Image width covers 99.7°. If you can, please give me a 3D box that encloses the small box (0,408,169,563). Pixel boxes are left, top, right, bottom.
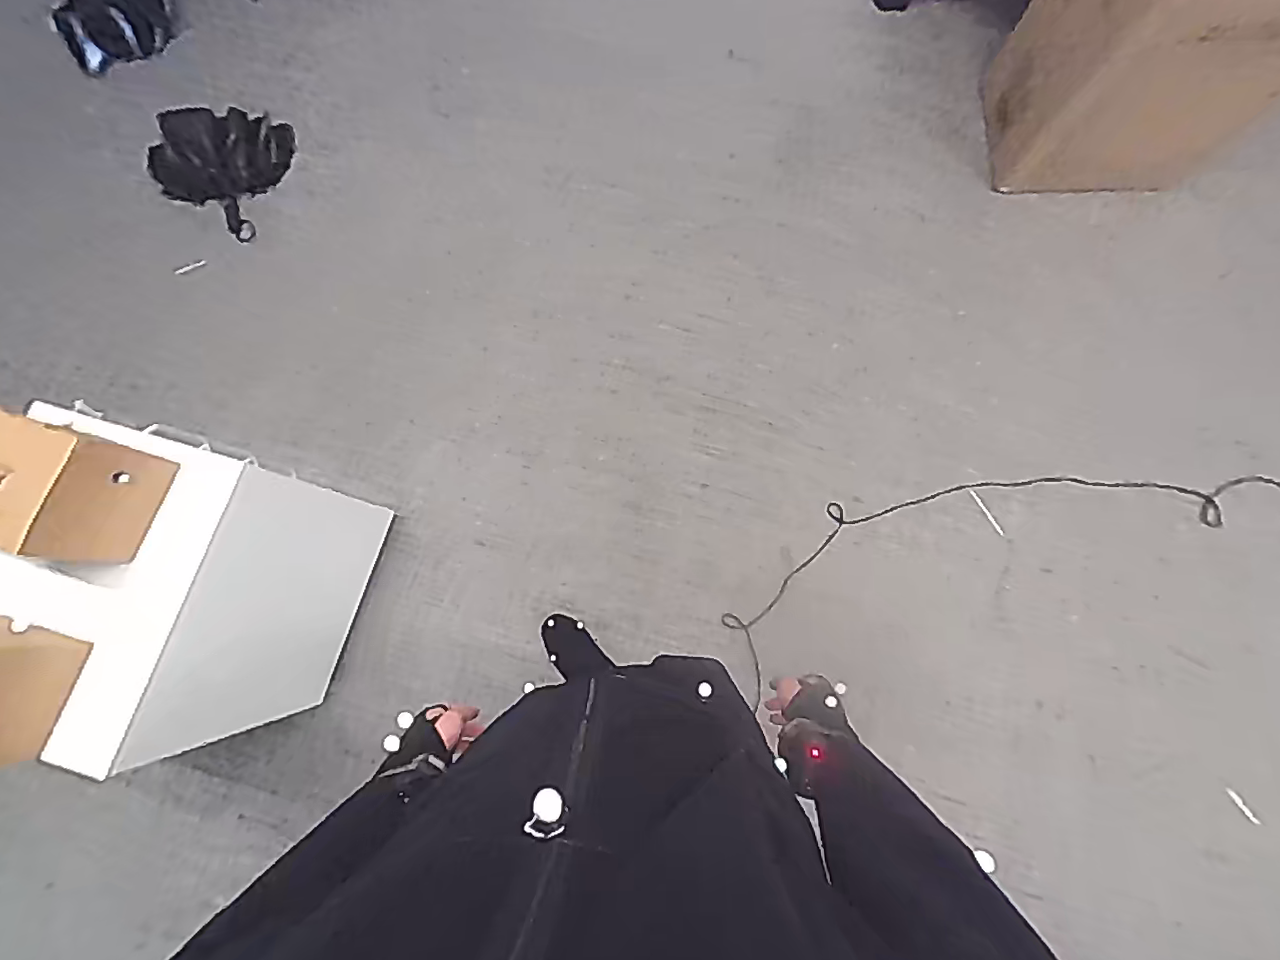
[{"bbox_3d":[-0.854,0.013,0.790,0.168,0.176,0.179,17,81,5],"label":"small box"}]

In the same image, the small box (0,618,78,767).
[{"bbox_3d":[-0.942,0.293,0.729,0.168,0.176,0.179,16,77,3],"label":"small box"}]
